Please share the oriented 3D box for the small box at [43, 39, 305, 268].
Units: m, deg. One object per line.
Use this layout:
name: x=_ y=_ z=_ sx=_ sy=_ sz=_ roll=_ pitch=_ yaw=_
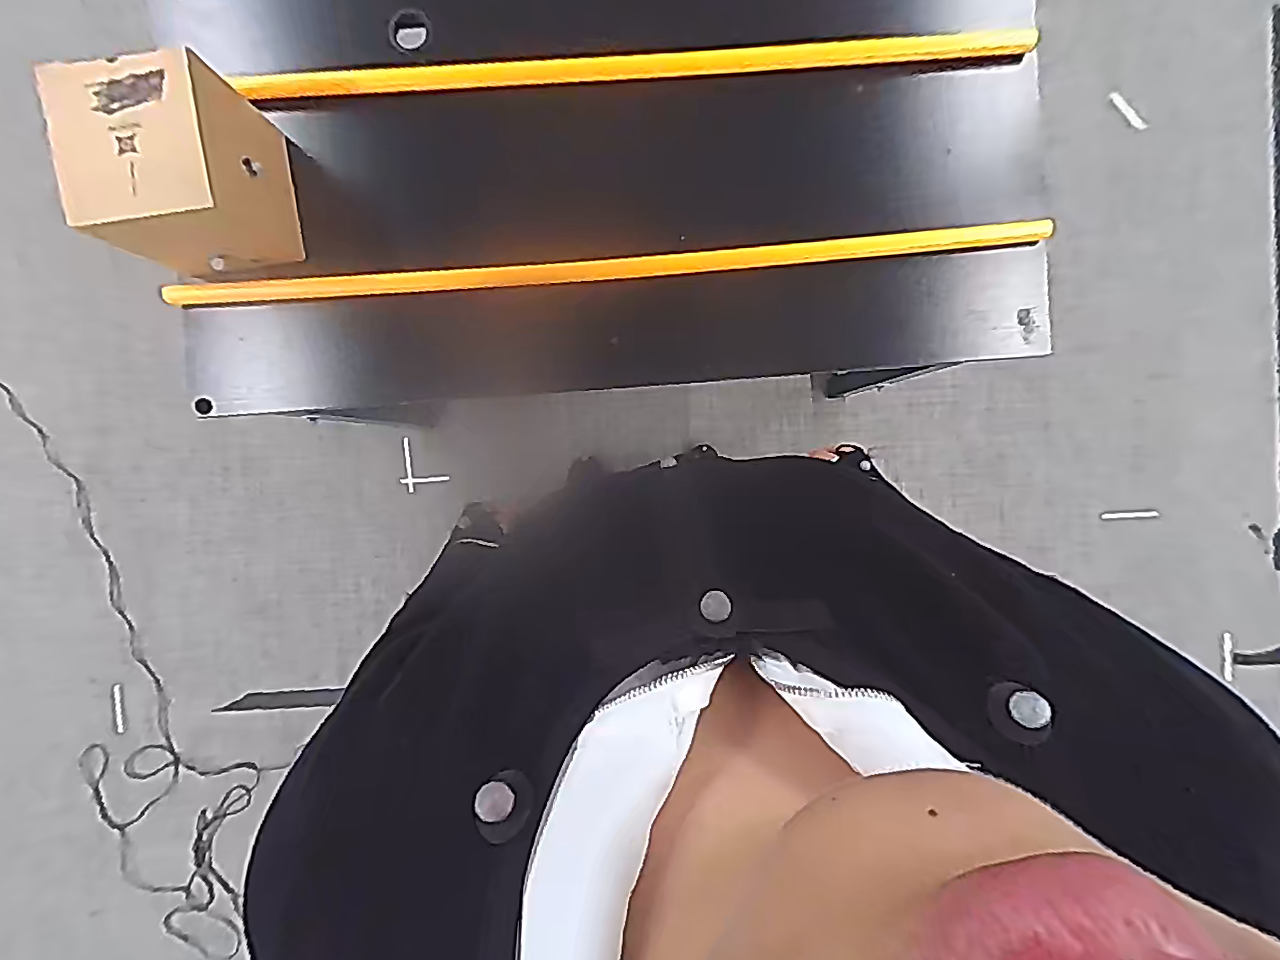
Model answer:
small box: x=-0.551 y=-0.385 z=0.666 sx=0.168 sy=0.176 sz=0.179 roll=-8 pitch=94 yaw=0
